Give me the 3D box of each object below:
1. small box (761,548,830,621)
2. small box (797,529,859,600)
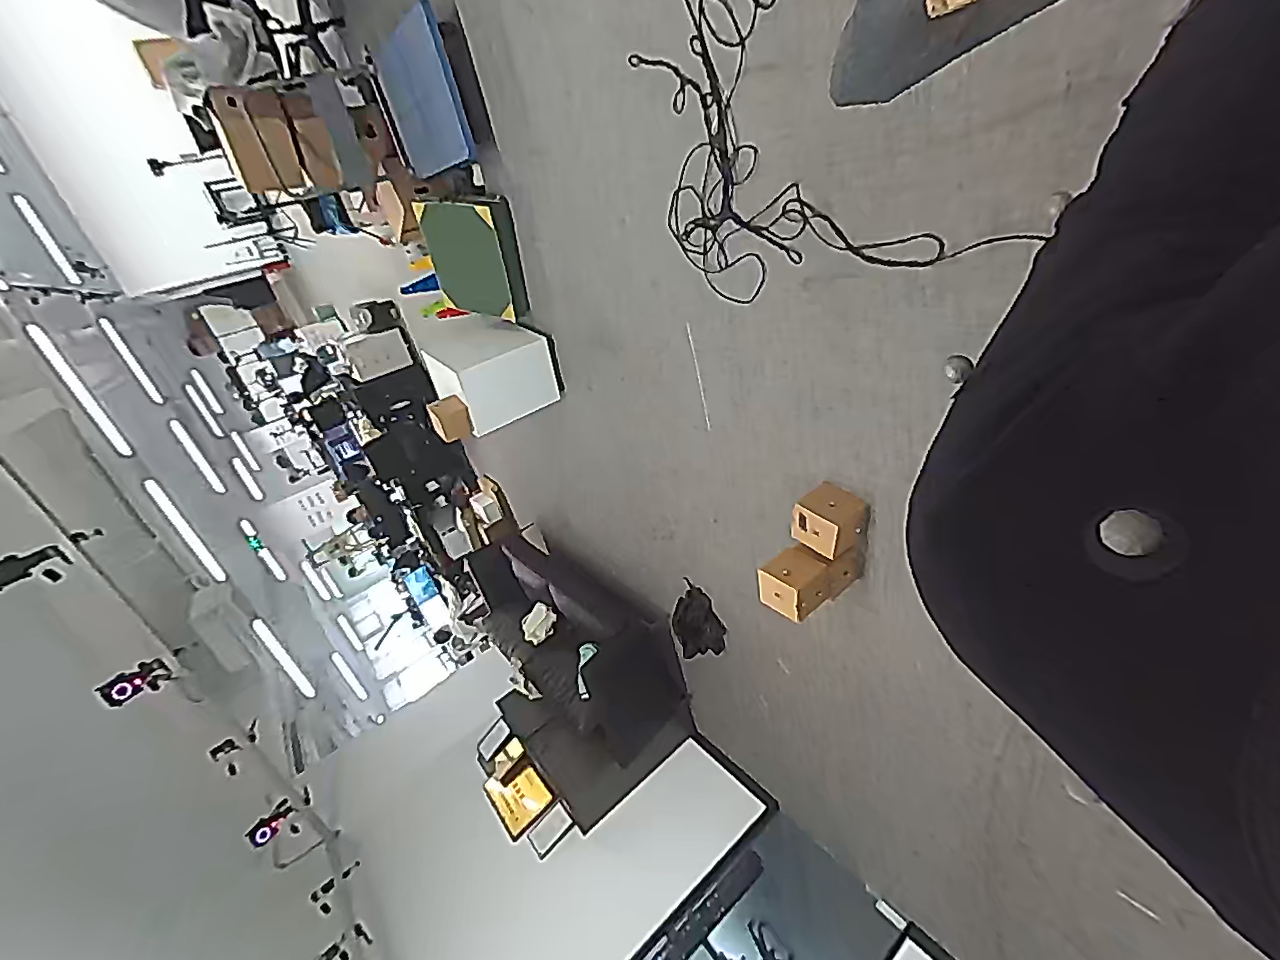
[{"bbox_3d":[0.563,0.369,1.952,0.179,0.176,0.168,26,138,47],"label":"small box"},{"bbox_3d":[0.700,0.309,2.021,0.179,0.176,0.168,26,138,47],"label":"small box"}]
